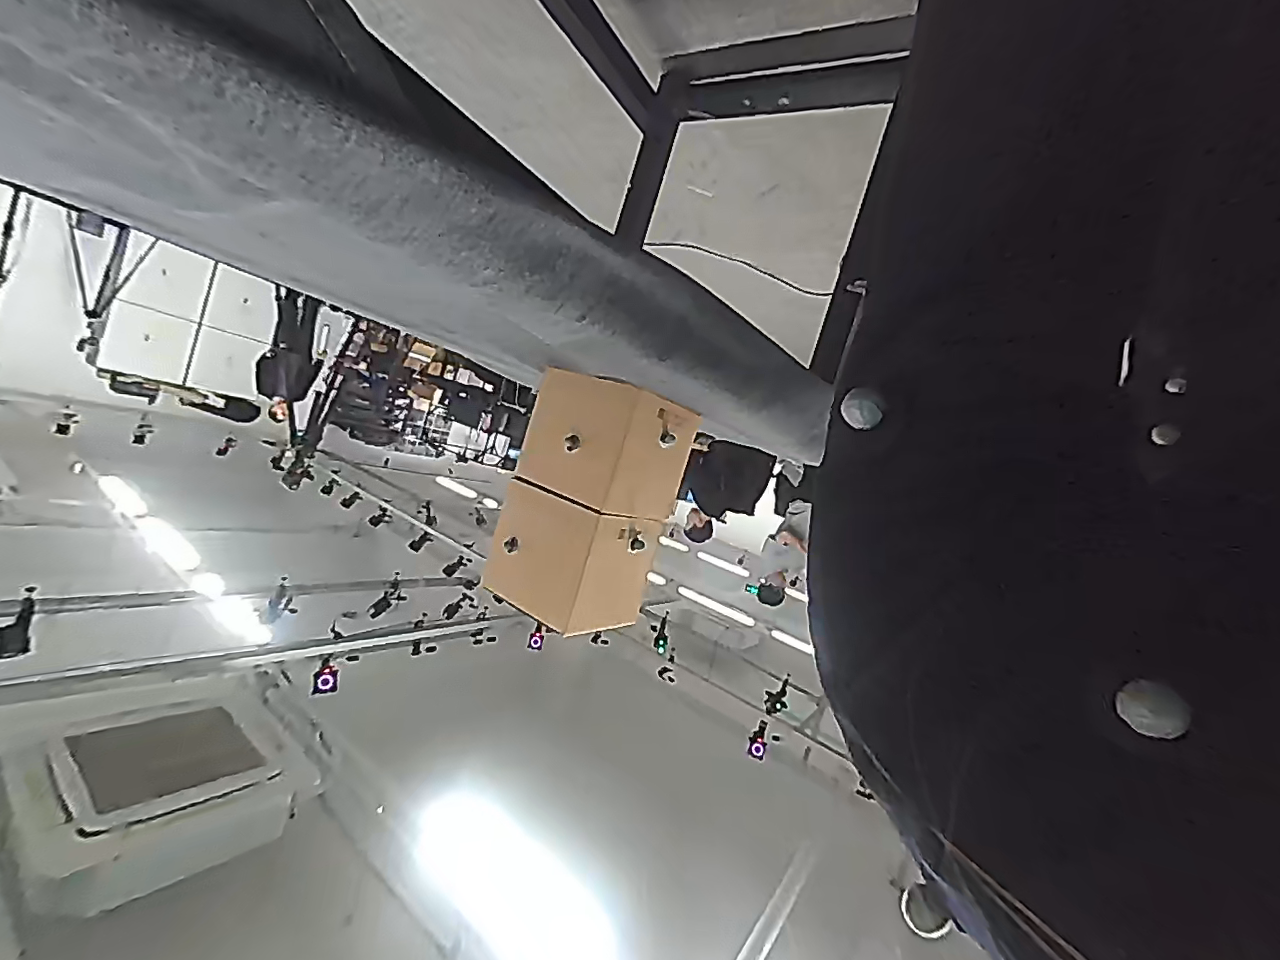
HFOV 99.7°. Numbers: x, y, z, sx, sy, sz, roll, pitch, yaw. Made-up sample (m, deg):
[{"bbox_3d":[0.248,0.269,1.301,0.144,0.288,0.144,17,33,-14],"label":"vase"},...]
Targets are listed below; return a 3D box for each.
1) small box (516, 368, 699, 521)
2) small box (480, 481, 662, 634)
[{"bbox_3d":[-0.043,-0.052,0.779,0.179,0.176,0.168,19,-177,35],"label":"small box"},{"bbox_3d":[-0.095,0.102,0.783,0.179,0.176,0.168,18,-176,35],"label":"small box"}]
